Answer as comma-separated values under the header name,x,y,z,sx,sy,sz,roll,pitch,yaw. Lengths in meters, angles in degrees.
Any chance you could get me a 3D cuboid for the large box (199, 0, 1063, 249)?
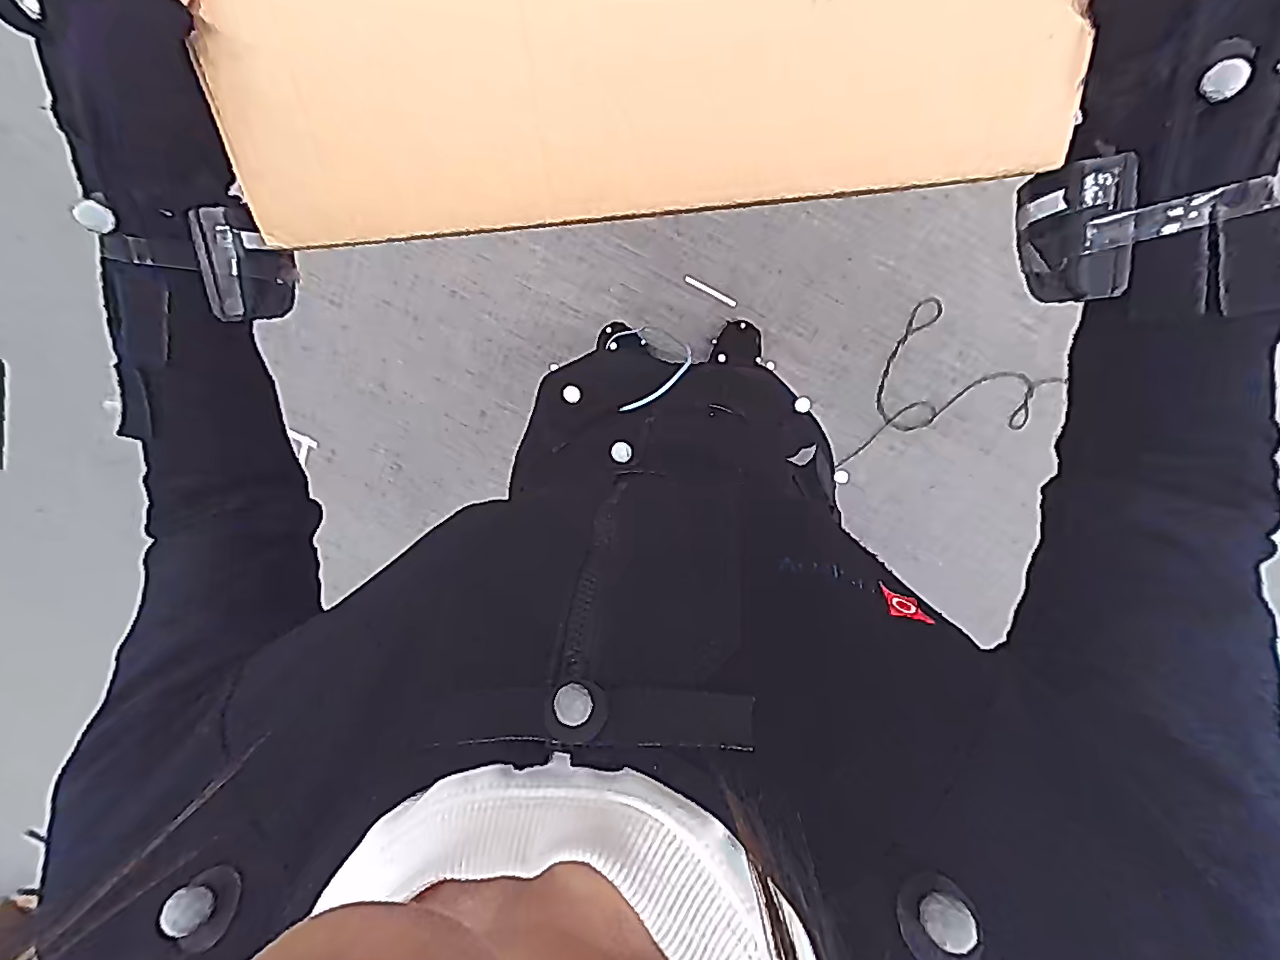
name,x,y,z,sx,sy,sz,roll,pitch,yaw
large box,-0.010,-0.350,0.352,0.408,0.320,0.320,-3,117,8
